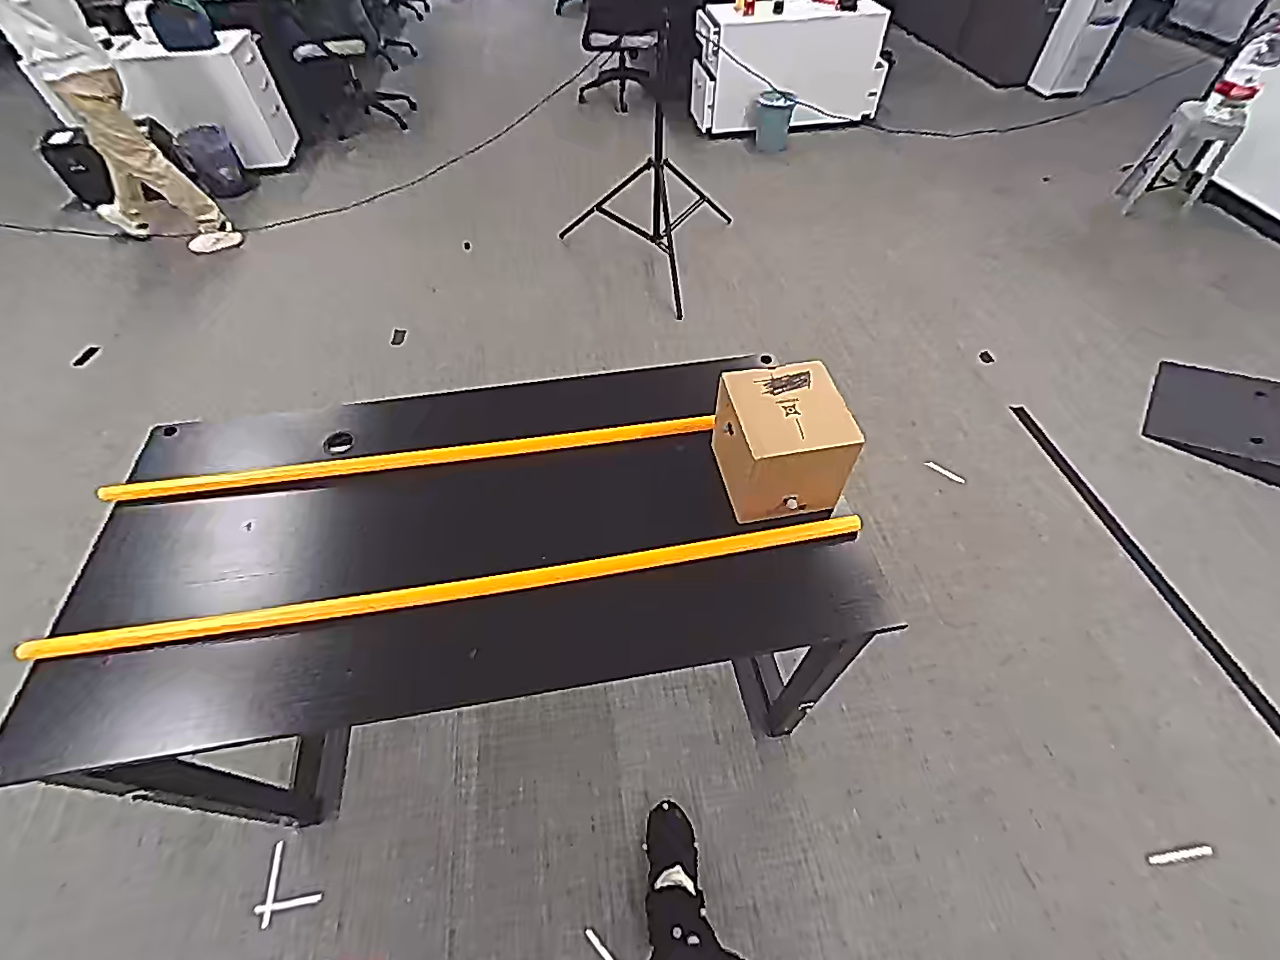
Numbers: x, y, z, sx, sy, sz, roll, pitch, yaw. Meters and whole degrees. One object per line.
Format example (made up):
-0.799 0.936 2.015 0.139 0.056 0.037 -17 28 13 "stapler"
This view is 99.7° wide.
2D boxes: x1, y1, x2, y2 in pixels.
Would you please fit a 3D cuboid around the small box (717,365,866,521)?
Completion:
0.227 -0.058 0.869 0.168 0.176 0.179 -9 53 -5 "small box"
